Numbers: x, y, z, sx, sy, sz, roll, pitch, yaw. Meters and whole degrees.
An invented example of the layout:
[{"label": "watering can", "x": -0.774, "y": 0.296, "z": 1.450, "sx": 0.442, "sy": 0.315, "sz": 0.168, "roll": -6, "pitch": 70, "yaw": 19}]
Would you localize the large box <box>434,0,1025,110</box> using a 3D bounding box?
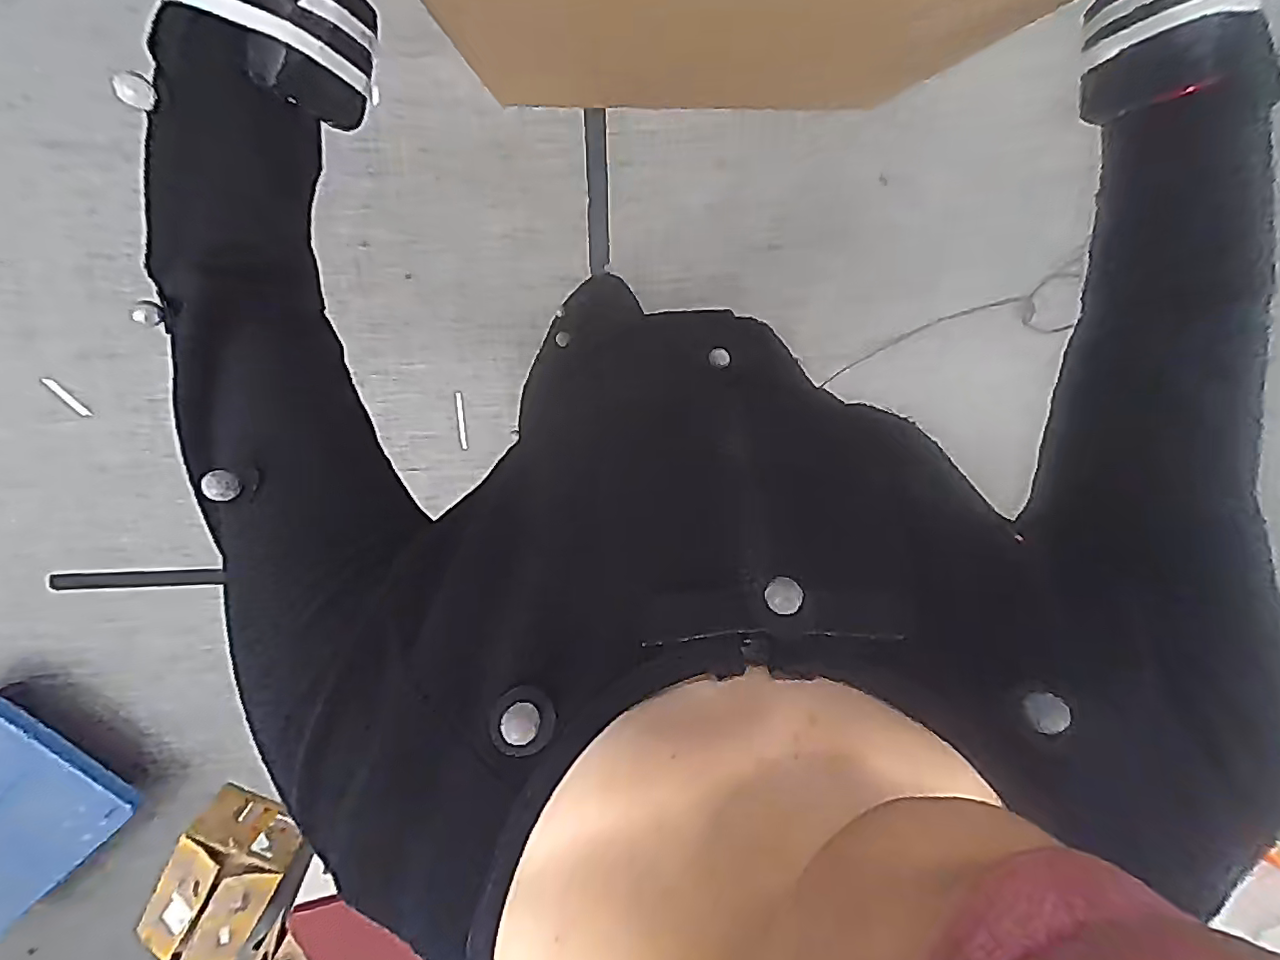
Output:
[{"label": "large box", "x": 0.054, "y": -0.483, "z": 0.382, "sx": 0.408, "sy": 0.320, "sz": 0.320, "roll": -2, "pitch": 113, "yaw": -3}]
